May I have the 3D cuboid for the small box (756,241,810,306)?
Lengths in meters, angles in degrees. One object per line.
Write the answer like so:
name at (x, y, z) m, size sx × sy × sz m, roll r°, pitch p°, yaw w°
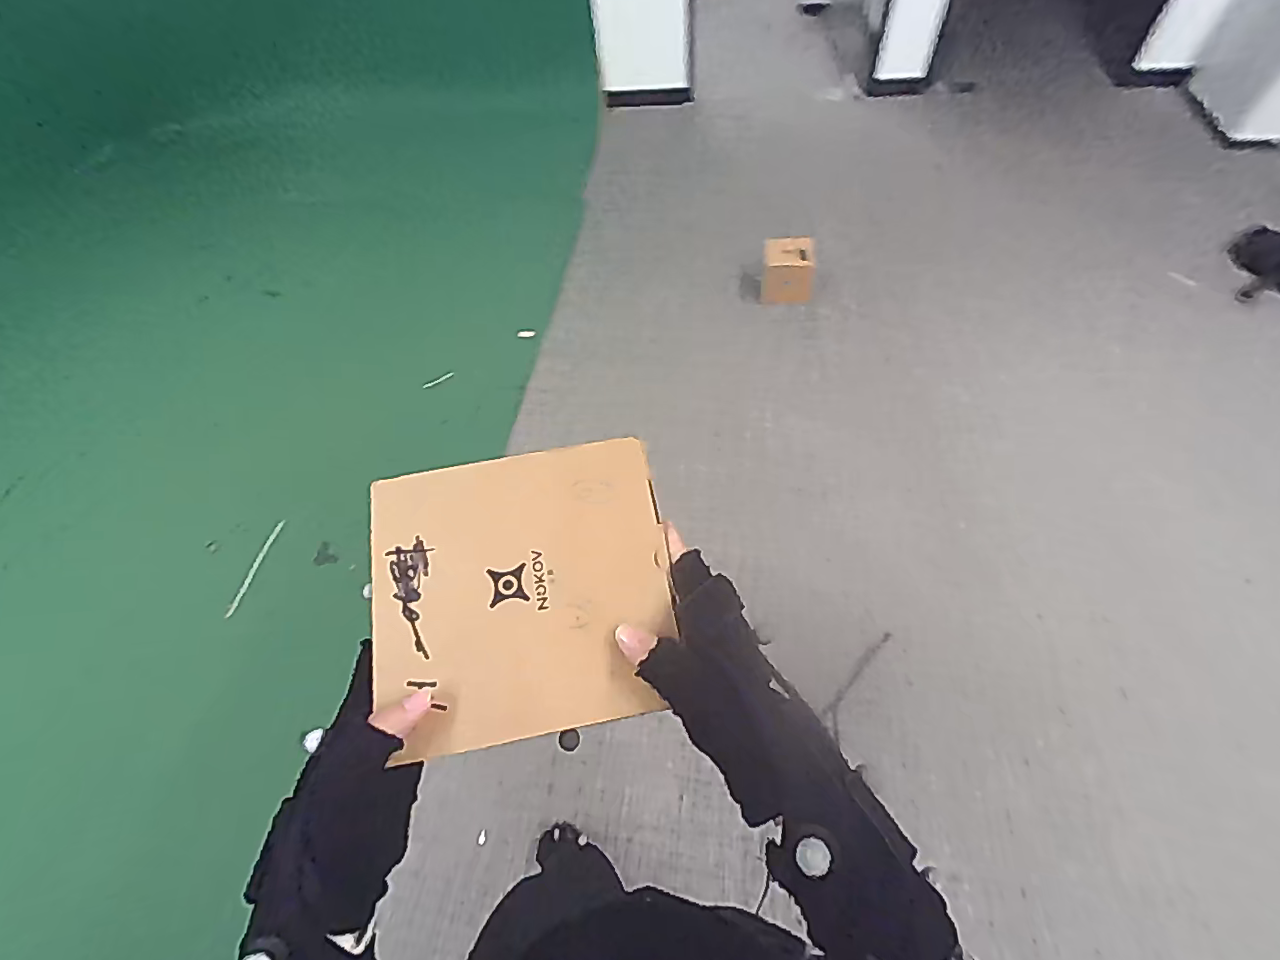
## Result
small box at (0.535, -0.774, 2.035) m, size 0.179 × 0.176 × 0.168 m, roll 2°, pitch 57°, yaw 8°

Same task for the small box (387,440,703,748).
small box at (-0.064, 0.088, 0.398) m, size 0.179 × 0.176 × 0.168 m, roll -8°, pitch 68°, yaw -5°
